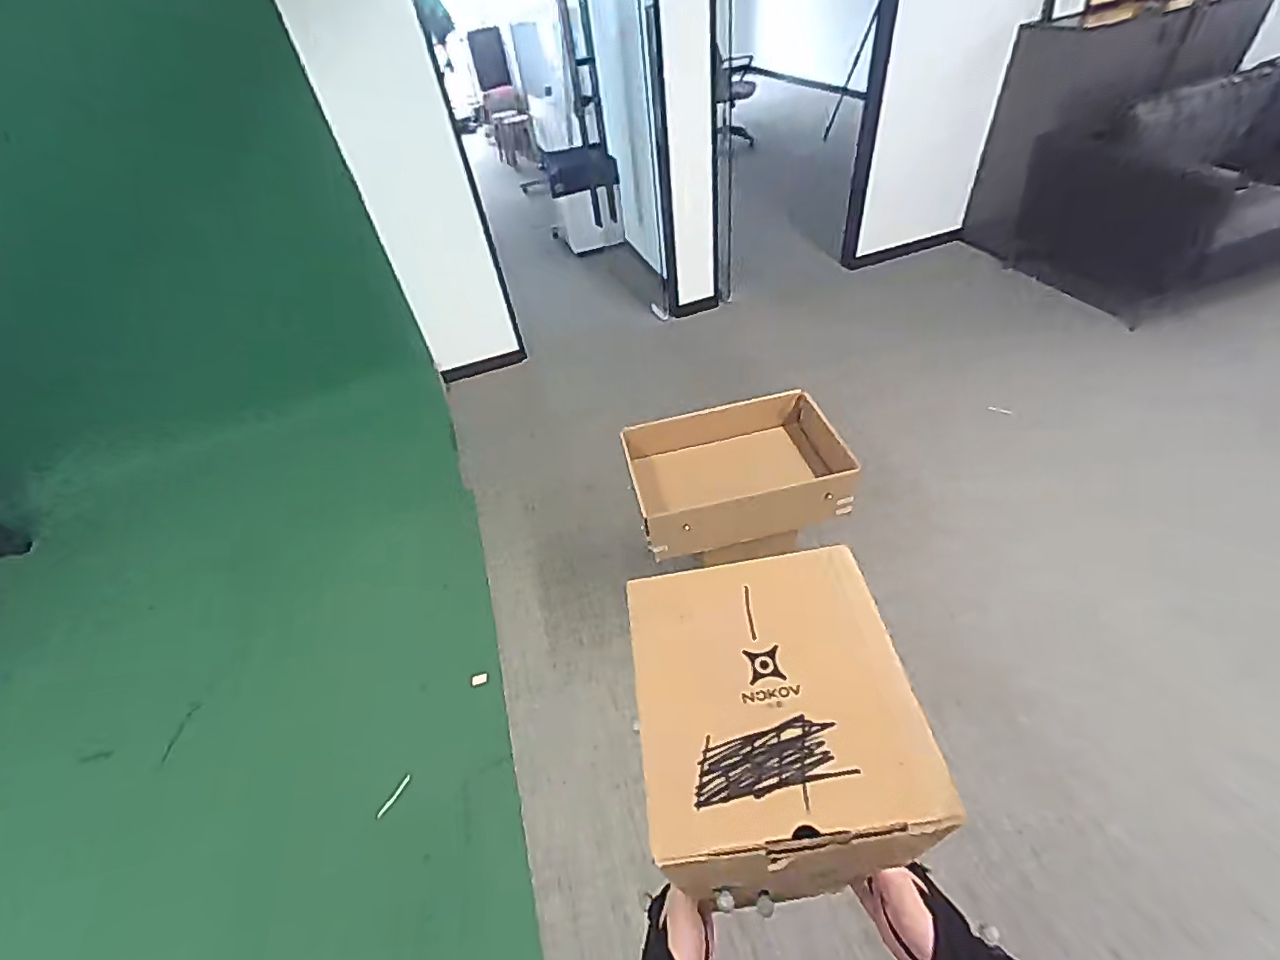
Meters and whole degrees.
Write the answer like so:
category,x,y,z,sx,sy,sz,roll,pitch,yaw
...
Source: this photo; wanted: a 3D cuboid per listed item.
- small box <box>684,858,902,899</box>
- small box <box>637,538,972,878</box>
category,x,y,z,sx,sy,sz,roll,pitch,yaw
small box,0.117,0.275,0.513,0.168,0.176,0.179,-8,48,3
small box,0.096,0.170,0.390,0.168,0.176,0.179,-9,47,3
